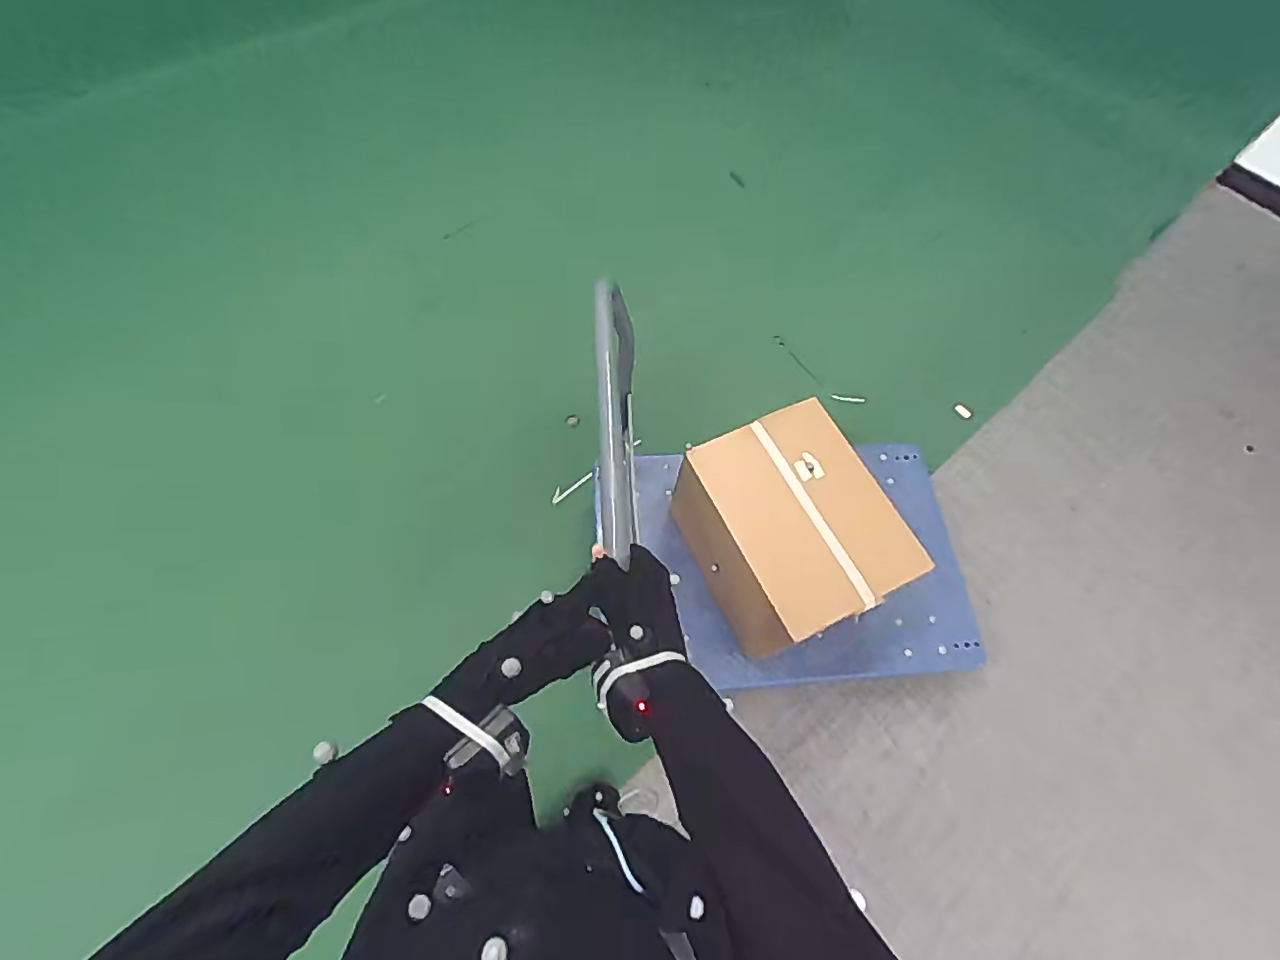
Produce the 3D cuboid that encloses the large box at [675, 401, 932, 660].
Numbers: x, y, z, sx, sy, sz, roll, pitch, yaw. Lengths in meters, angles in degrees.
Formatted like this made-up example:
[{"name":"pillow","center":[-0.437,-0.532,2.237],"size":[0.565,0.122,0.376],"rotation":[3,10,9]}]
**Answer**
[{"name":"large box","center":[0.307,0.116,1.154],"size":[0.320,0.320,0.408],"rotation":[-22,68,-13]}]
